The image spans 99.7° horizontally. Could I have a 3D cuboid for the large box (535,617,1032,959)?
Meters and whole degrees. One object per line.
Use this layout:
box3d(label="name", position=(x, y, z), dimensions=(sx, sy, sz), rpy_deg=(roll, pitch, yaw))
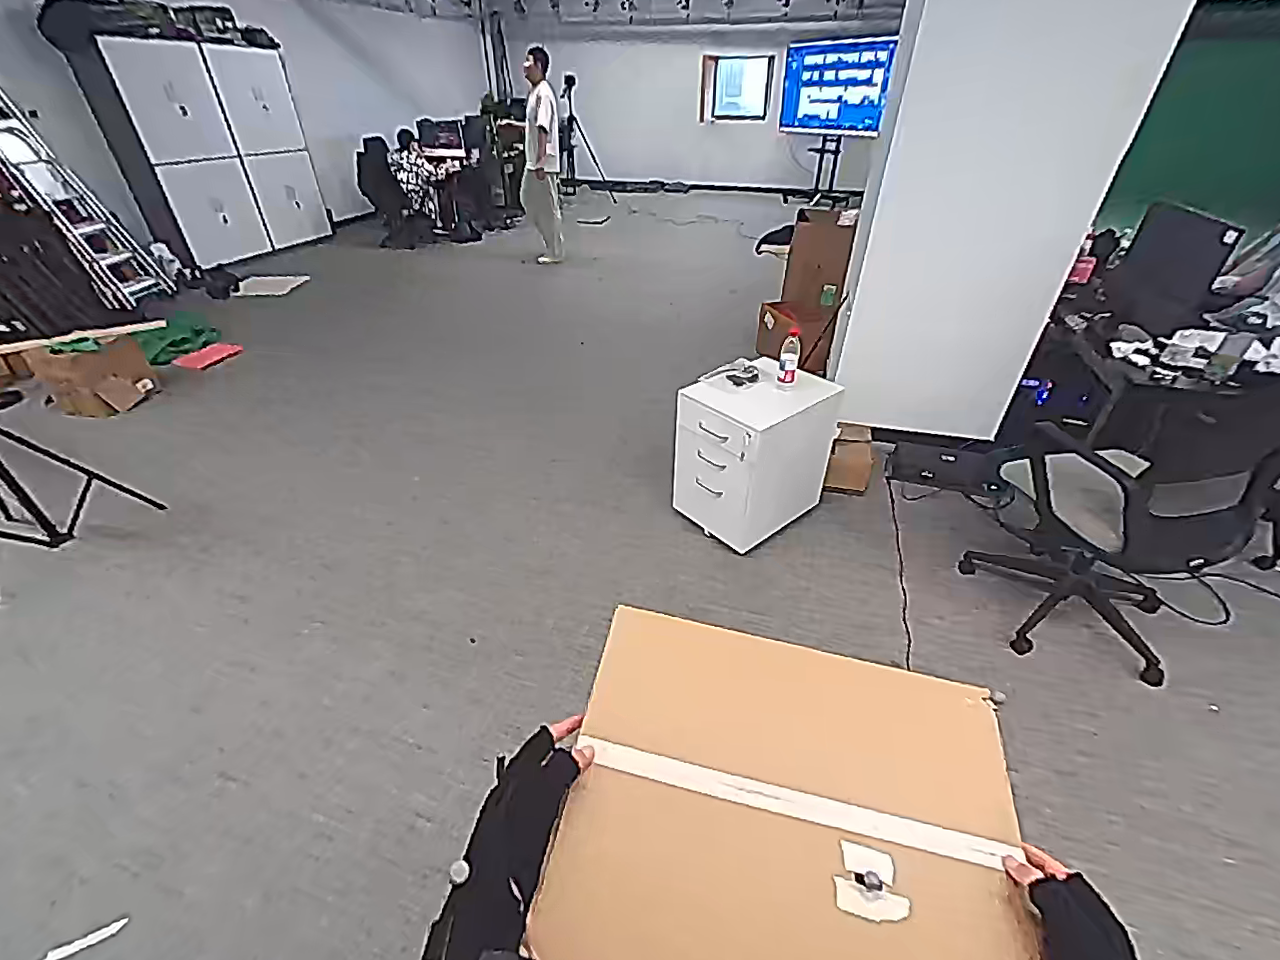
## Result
box3d(label="large box", position=(0.132, 0.402, 0.614), dimensions=(0.408, 0.320, 0.320), rpy_deg=(12, 49, 7))
